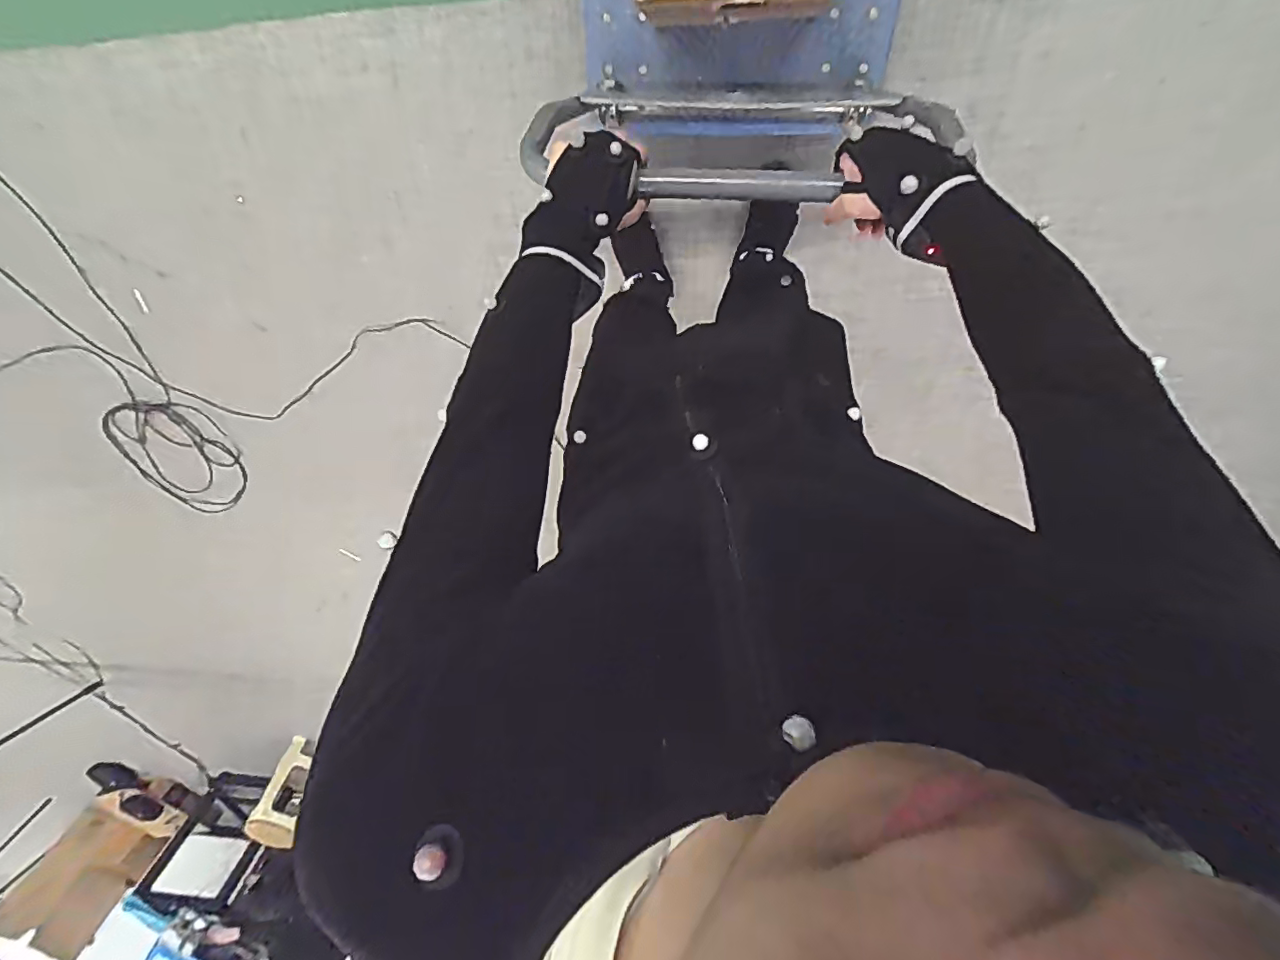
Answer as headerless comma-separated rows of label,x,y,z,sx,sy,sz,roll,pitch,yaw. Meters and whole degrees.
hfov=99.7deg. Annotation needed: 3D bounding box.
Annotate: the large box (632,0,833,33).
large box,0.148,-0.931,0.782,0.320,0.320,0.408,2,125,7
